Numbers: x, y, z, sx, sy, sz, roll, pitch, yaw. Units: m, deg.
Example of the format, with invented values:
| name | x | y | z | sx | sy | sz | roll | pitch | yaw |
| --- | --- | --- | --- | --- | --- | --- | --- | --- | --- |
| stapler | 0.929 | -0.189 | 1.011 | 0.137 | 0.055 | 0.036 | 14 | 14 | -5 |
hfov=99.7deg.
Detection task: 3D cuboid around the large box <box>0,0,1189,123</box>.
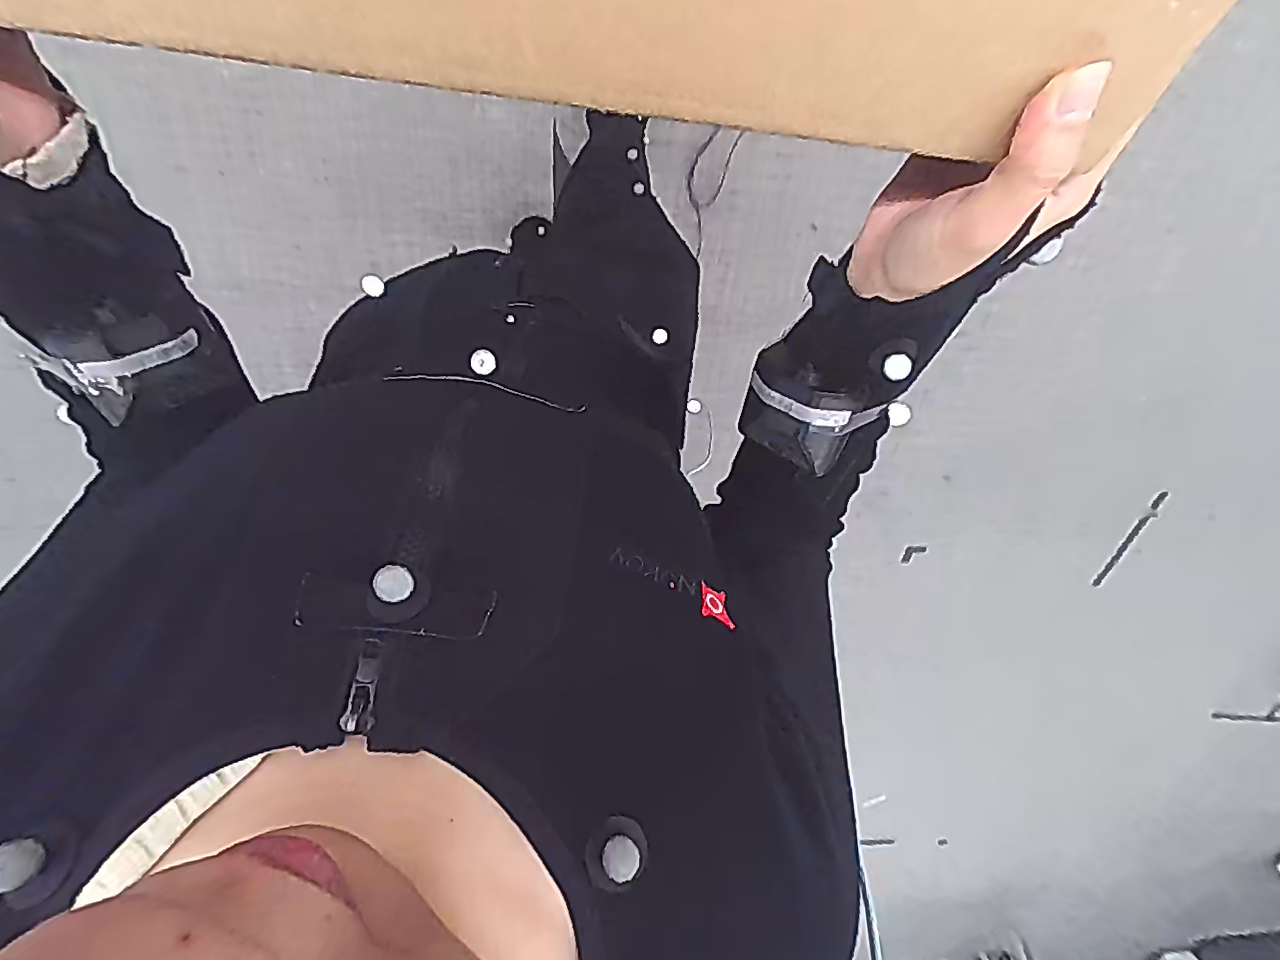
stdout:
| name | x | y | z | sx | sy | sz | roll | pitch | yaw |
| --- | --- | --- | --- | --- | --- | --- | --- | --- | --- |
| large box | -0.022 | -0.341 | 0.127 | 0.408 | 0.320 | 0.320 | 3 | 149 | -6 |
